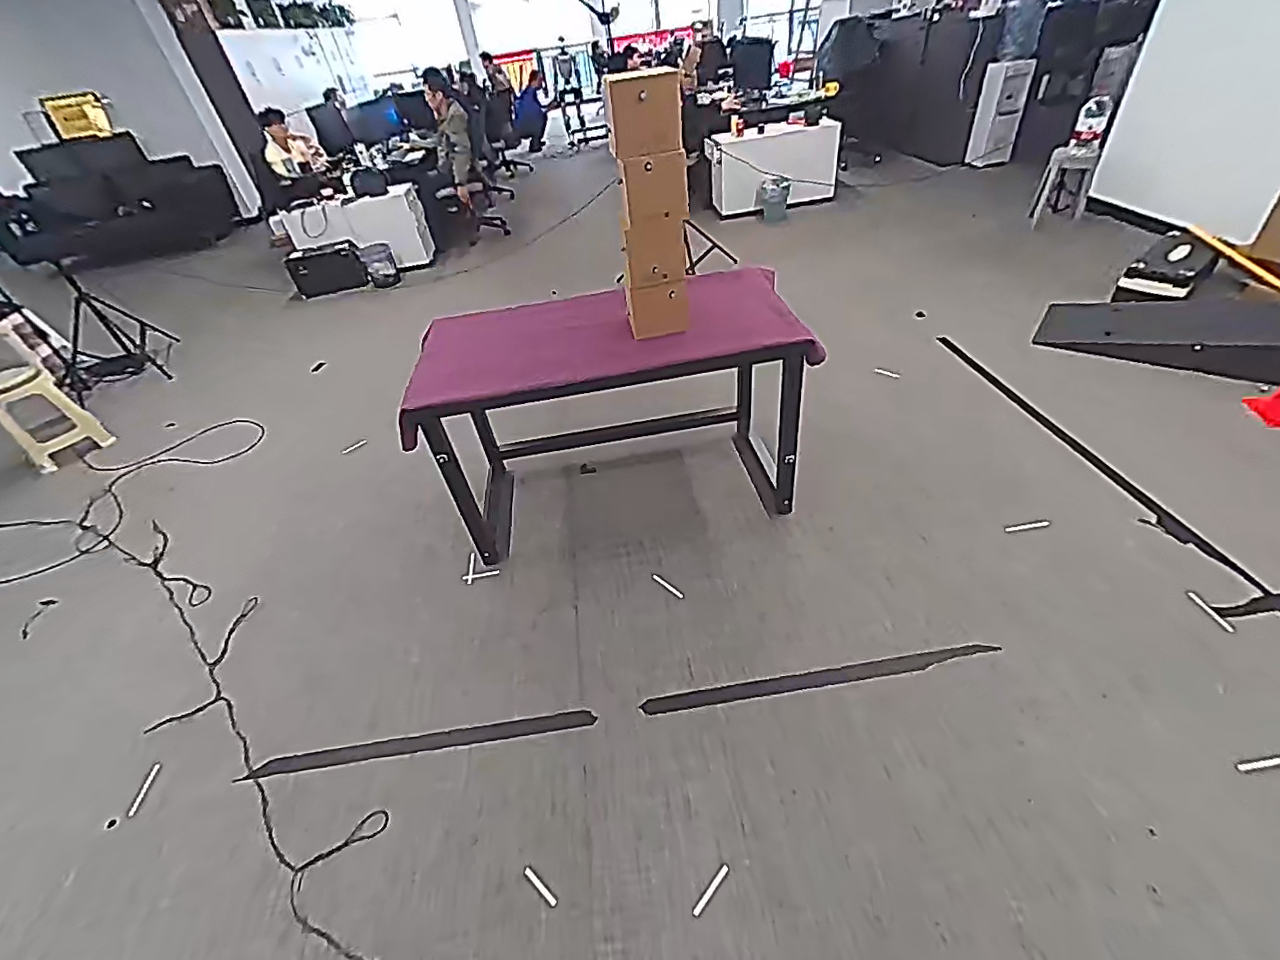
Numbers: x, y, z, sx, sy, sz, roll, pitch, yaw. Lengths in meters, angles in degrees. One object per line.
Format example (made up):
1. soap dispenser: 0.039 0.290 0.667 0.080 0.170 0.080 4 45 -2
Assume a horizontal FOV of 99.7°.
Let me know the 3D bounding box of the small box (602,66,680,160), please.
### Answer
1. small box: 0.005 -0.948 1.397 0.179 0.176 0.168 -11 41 -2

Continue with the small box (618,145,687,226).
1. small box: 0.032 -0.820 1.495 0.168 0.176 0.179 -11 40 -2

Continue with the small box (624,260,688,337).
1. small box: 0.052 -0.571 1.707 0.179 0.176 0.168 -11 40 -2
